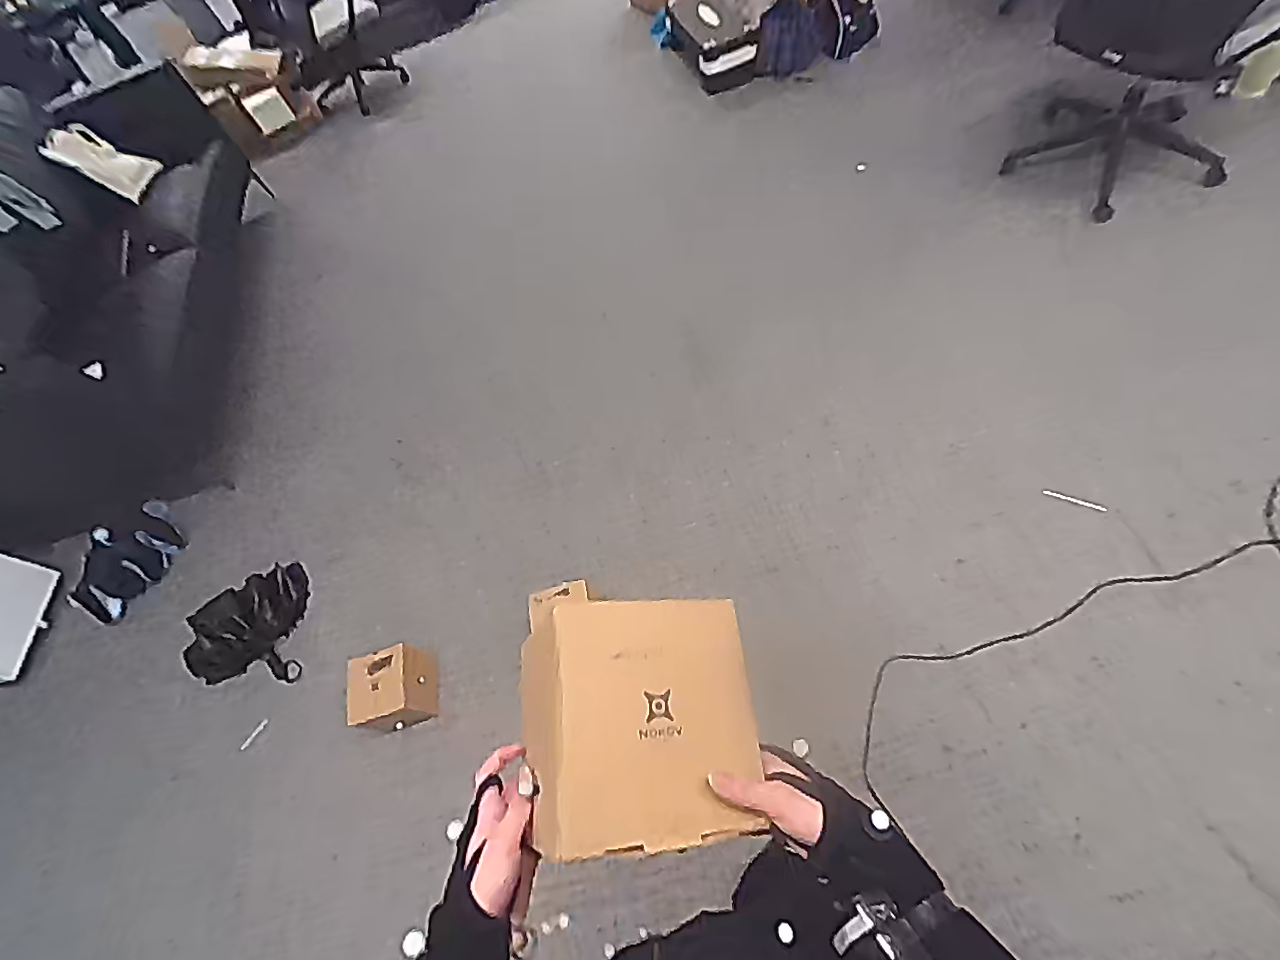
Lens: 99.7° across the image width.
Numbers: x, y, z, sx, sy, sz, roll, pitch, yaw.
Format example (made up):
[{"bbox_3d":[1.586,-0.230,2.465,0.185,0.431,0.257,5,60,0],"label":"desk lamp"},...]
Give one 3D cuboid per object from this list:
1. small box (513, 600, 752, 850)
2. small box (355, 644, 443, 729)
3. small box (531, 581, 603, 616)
[{"bbox_3d":[-0.022,0.219,0.500,0.168,0.176,0.179,4,60,-20],"label":"small box"},{"bbox_3d":[-0.676,0.586,1.527,0.168,0.176,0.179,-20,60,4],"label":"small box"},{"bbox_3d":[-0.186,0.404,1.497,0.168,0.176,0.179,-17,59,6],"label":"small box"}]
